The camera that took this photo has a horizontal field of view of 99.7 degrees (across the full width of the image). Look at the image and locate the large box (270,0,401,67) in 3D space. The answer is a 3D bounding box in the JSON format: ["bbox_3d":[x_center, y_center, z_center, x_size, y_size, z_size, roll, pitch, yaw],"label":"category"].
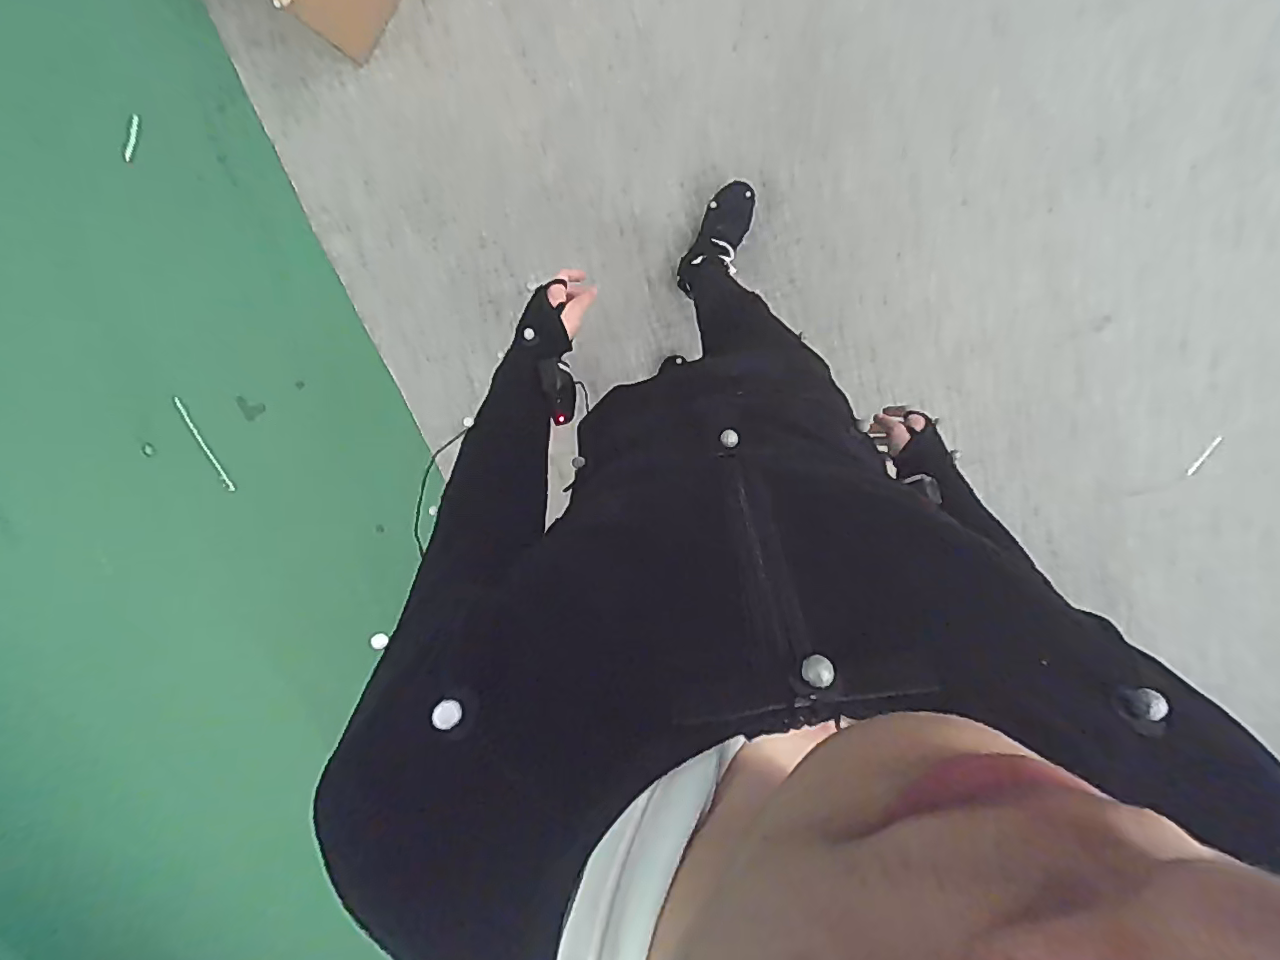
[{"bbox_3d":[-0.670,-1.186,1.100,0.320,0.320,0.408,37,107,-10],"label":"large box"}]
